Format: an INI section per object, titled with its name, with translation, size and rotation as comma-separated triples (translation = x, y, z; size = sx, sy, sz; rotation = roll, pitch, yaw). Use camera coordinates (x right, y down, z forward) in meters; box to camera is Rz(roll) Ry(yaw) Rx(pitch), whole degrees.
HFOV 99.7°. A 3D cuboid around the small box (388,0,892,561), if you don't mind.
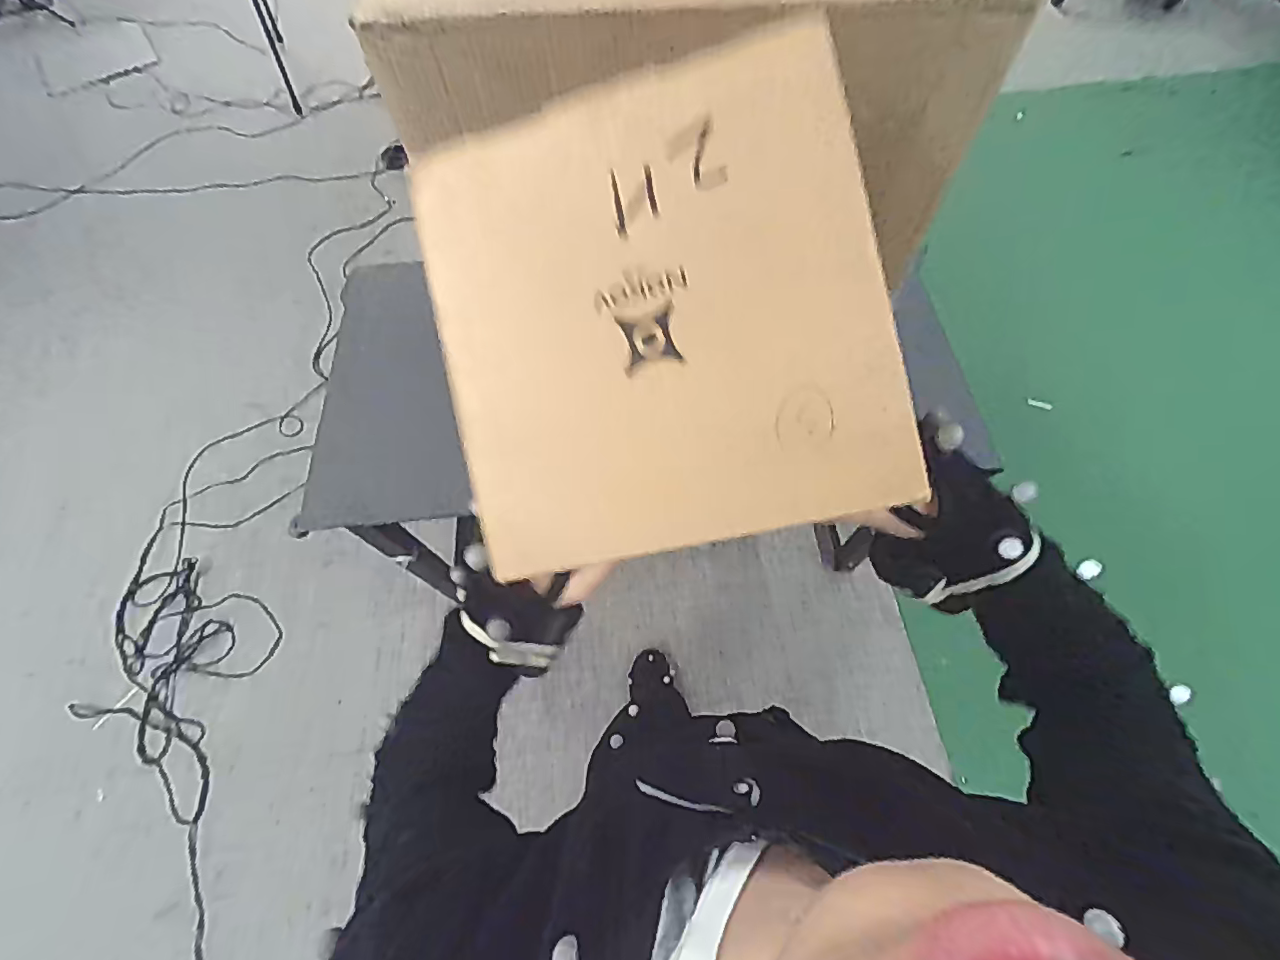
[small box]
translation = 0.009, -0.070, 0.279
size = 0.168, 0.176, 0.179
rotation = -12, 90, 10
